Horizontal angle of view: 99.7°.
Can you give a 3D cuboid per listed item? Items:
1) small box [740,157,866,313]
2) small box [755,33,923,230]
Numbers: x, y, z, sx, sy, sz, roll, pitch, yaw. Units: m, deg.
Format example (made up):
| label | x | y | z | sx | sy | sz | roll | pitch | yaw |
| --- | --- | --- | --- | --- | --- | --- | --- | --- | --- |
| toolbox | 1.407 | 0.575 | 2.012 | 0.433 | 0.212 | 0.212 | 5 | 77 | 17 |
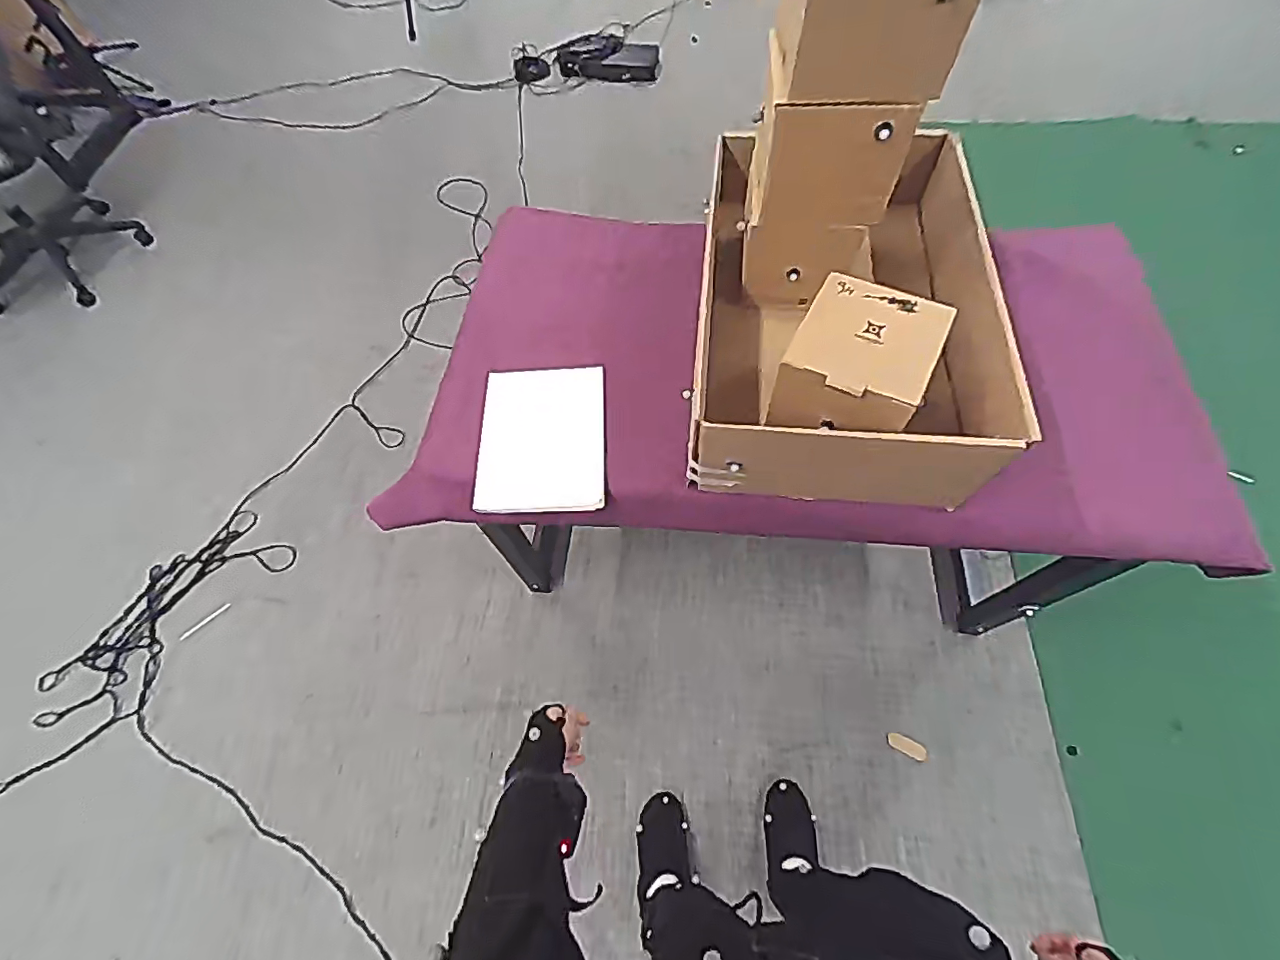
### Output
| label | x | y | z | sx | sy | sz | roll | pitch | yaw |
| --- | --- | --- | --- | --- | --- | --- | --- | --- | --- |
| small box | 0.255 | -0.393 | 0.879 | 0.168 | 0.176 | 0.179 | 4 | 64 | 6 |
| small box | 0.251 | -0.463 | 0.733 | 0.179 | 0.176 | 0.168 | 2 | 64 | 4 |
